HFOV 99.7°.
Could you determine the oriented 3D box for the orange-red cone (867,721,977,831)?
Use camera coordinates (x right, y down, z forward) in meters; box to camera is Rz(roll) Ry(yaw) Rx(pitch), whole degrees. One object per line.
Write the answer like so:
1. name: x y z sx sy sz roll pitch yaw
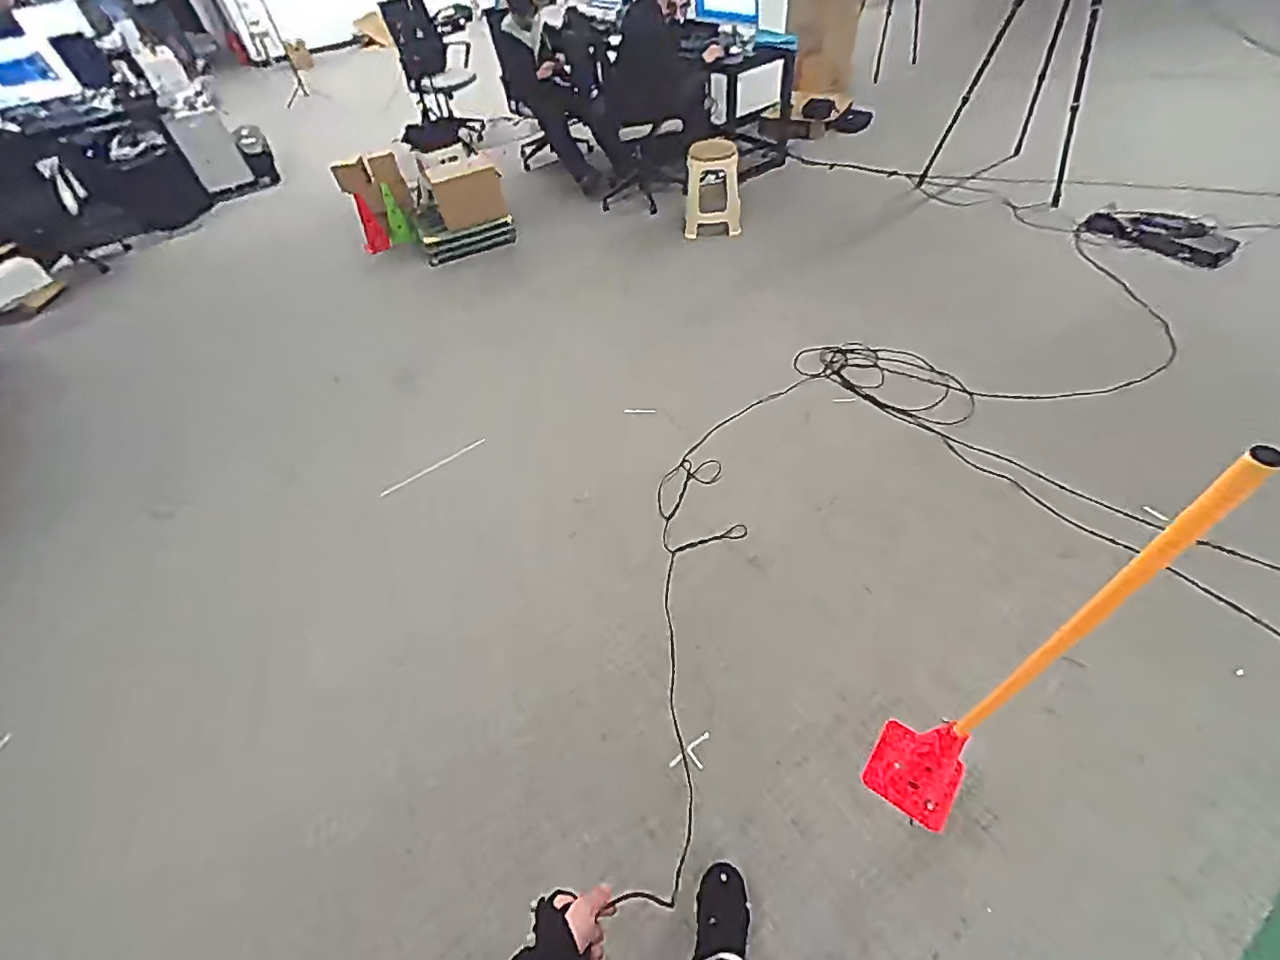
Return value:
1. orange-red cone: 0.687 0.630 1.243 0.198 0.360 0.199 29 57 28
